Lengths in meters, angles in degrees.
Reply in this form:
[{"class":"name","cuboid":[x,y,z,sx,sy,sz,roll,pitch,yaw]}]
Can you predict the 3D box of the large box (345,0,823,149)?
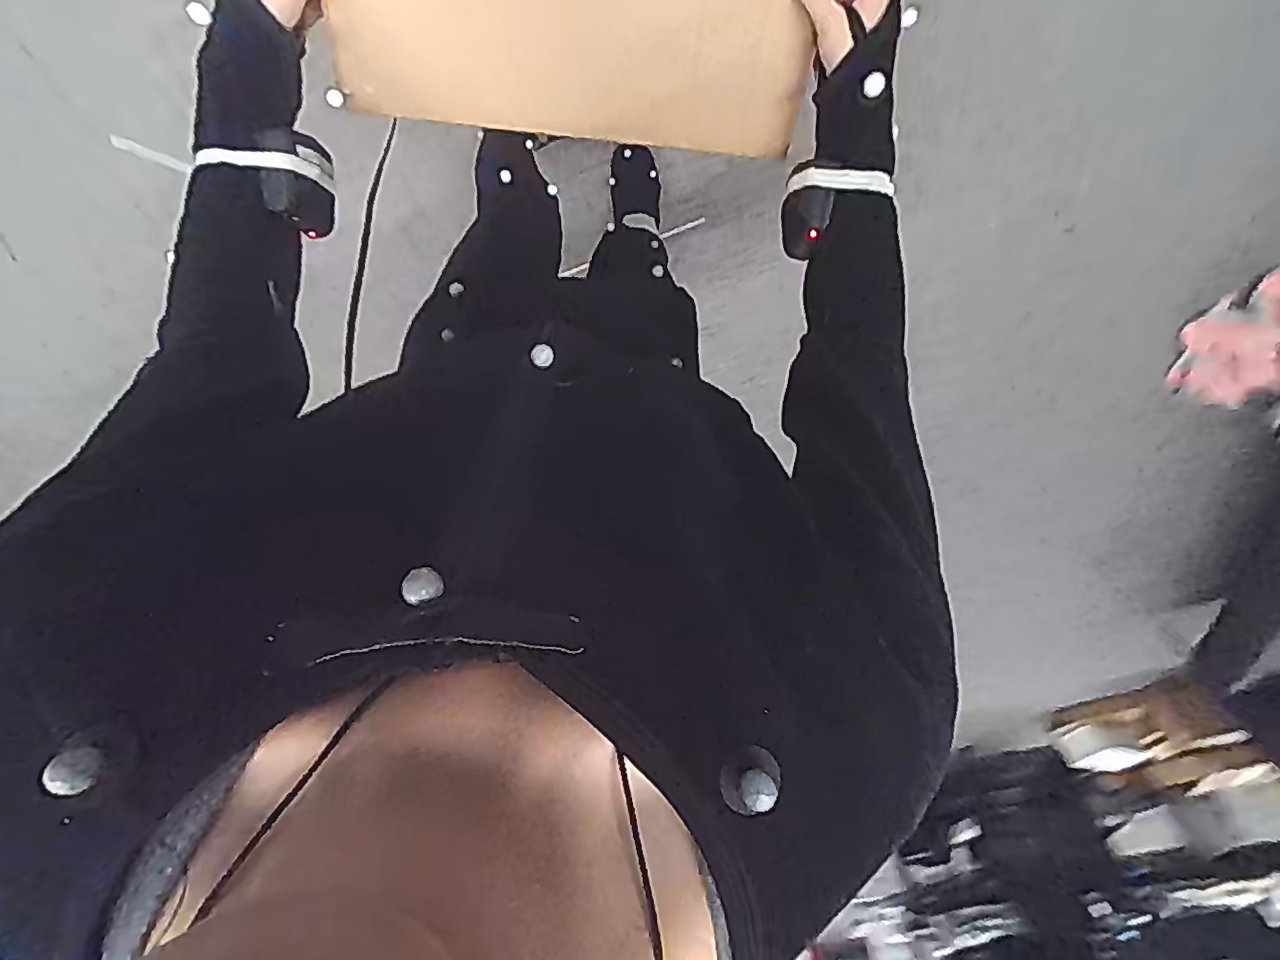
[{"class":"large box","cuboid":[-0.044,-0.545,0.512,0.408,0.320,0.320,2,134,-6]}]
